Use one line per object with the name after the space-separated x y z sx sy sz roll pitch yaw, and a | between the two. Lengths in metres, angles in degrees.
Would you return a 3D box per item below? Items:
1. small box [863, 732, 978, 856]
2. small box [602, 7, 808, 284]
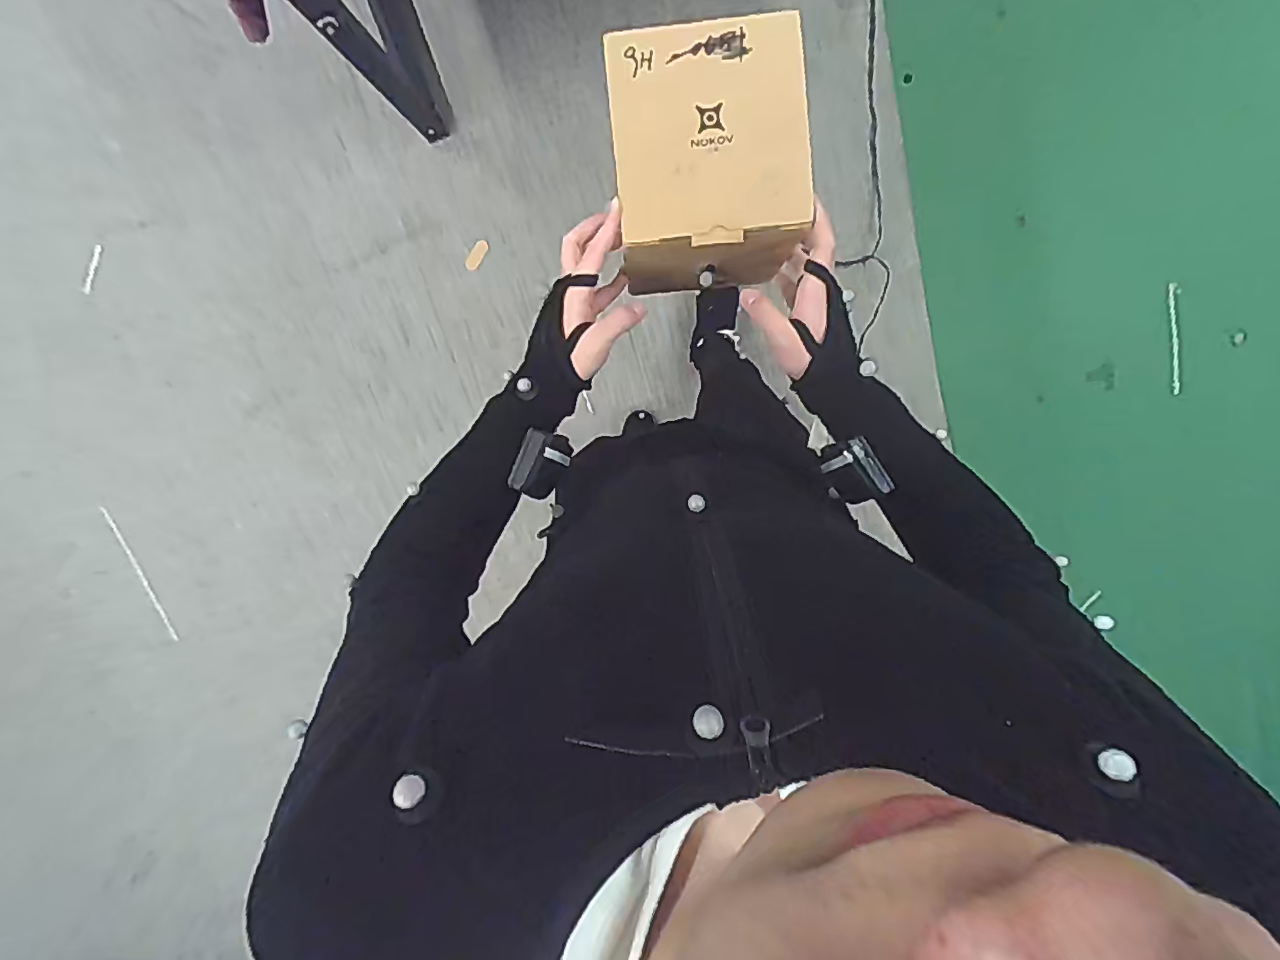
0.704 0.798 1.388 0.168 0.176 0.179 40 99 -7 | small box
0.058 -0.303 0.533 0.168 0.176 0.179 -5 95 1 | small box
